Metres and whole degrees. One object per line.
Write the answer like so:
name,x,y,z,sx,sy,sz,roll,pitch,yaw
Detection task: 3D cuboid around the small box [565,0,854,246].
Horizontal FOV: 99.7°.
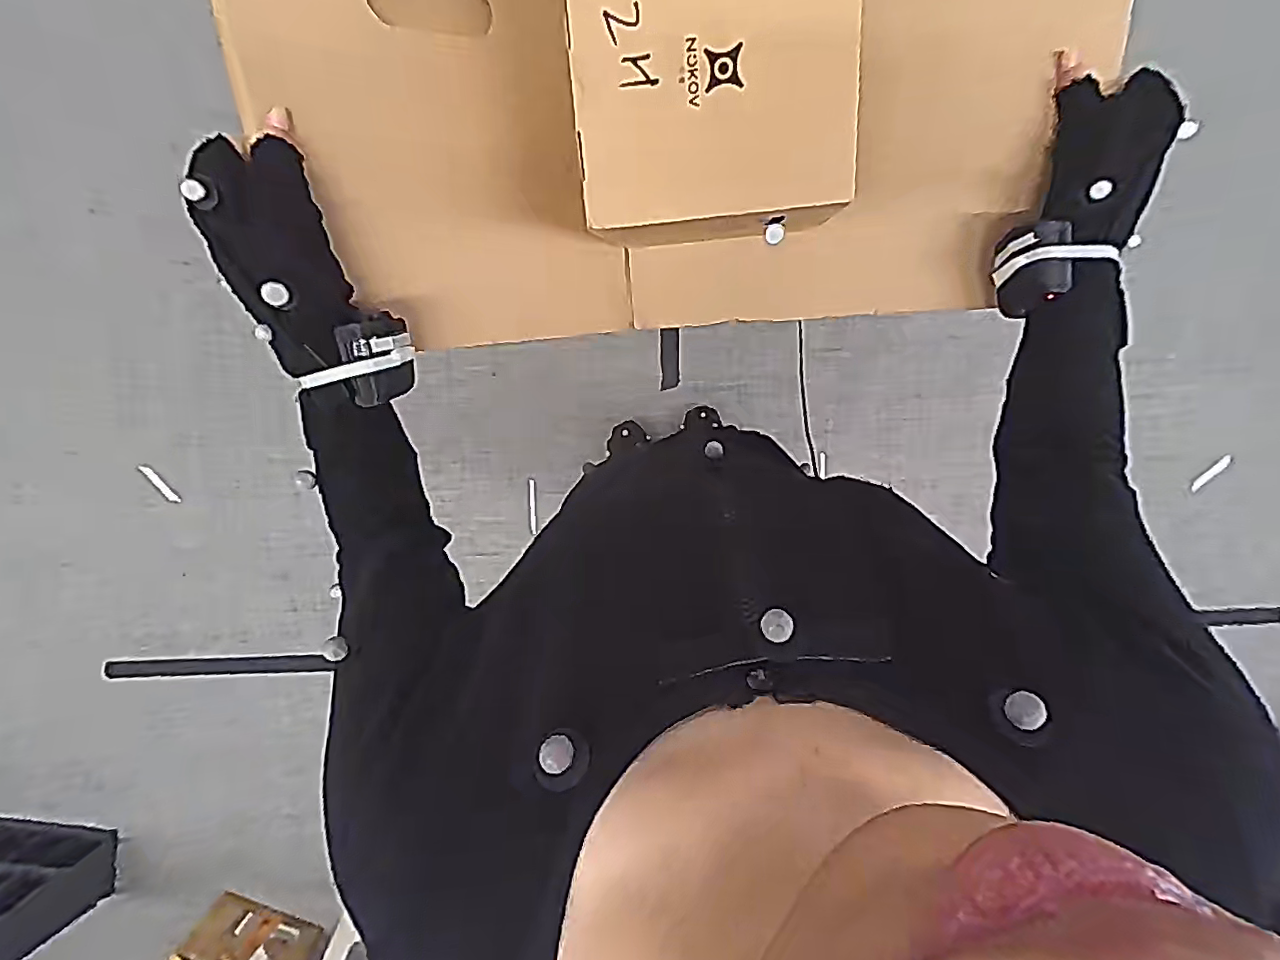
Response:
small box,0.054,-0.279,0.414,0.179,0.176,0.168,0,108,11
